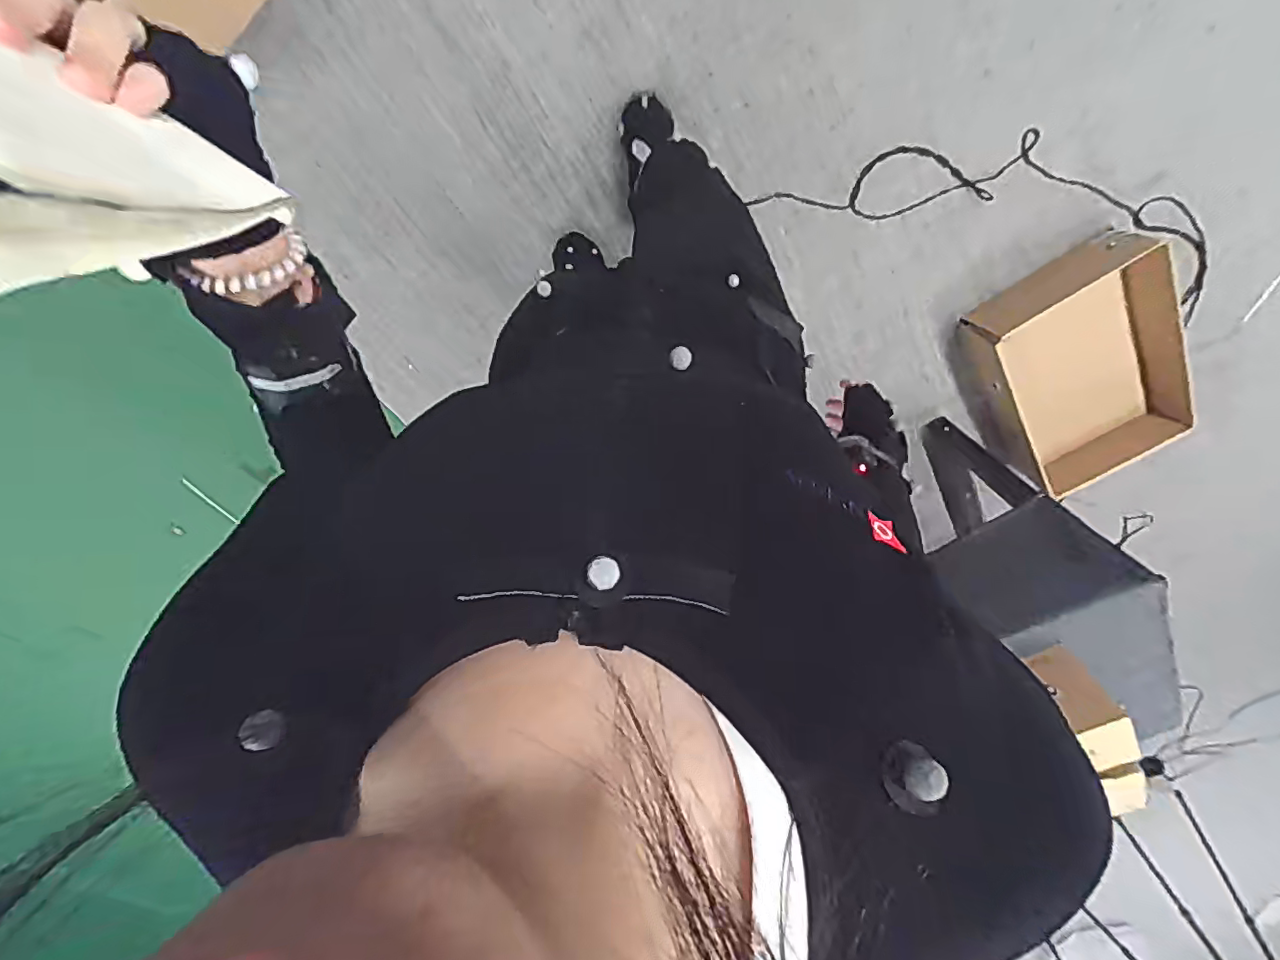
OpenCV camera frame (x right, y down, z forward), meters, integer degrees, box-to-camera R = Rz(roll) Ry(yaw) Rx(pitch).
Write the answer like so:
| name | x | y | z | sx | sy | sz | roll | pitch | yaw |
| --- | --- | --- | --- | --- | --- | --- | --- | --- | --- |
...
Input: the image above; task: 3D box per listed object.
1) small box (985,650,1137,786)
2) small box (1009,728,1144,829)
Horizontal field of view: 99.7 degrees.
| name | x | y | z | sx | sy | sz | roll | pitch | yaw |
| --- | --- | --- | --- | --- | --- | --- | --- | --- | --- |
| small box | 0.826 | 0.464 | 1.074 | 0.168 | 0.176 | 0.179 | -31 | 121 | 15 |
| small box | 0.949 | 0.620 | 1.187 | 0.168 | 0.176 | 0.179 | -27 | 120 | 13 |
